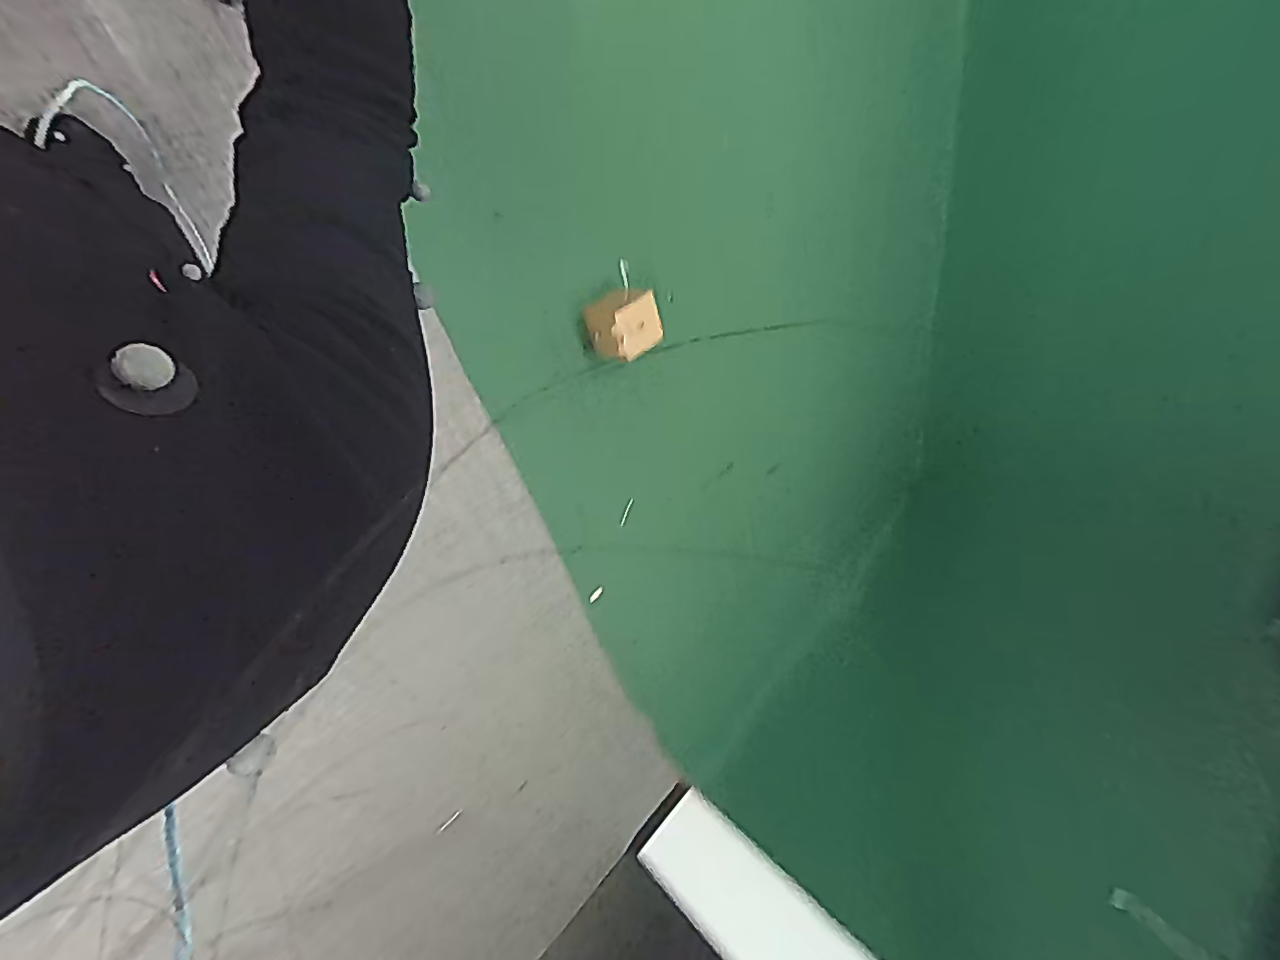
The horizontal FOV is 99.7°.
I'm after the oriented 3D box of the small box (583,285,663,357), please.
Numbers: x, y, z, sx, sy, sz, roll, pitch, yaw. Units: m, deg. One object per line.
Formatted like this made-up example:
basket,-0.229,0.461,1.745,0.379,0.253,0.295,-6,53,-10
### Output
small box,-0.056,-0.533,1.792,0.179,0.176,0.168,-41,133,-24
